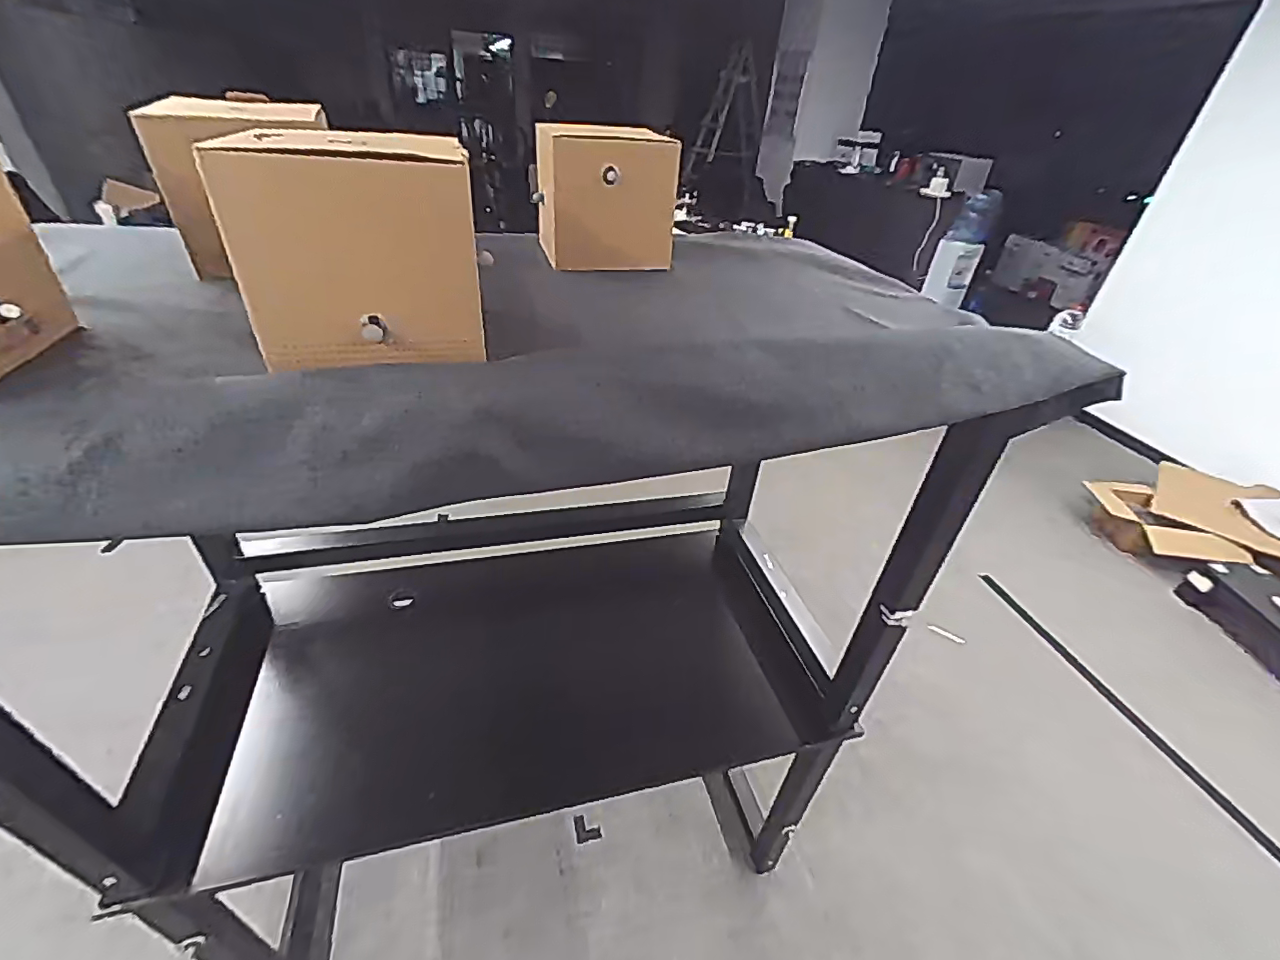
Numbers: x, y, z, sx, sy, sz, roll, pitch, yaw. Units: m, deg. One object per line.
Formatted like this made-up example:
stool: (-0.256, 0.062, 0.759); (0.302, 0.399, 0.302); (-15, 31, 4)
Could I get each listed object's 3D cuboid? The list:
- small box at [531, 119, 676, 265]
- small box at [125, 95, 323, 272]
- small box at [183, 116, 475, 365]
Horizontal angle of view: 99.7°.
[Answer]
small box: (-0.059, -0.423, 0.796); (0.179, 0.176, 0.168); (-6, 38, -15)
small box: (-0.469, -0.364, 0.667); (0.168, 0.176, 0.179); (-11, 39, -20)
small box: (-0.242, -0.211, 0.479); (0.179, 0.176, 0.168); (-6, 36, -16)
